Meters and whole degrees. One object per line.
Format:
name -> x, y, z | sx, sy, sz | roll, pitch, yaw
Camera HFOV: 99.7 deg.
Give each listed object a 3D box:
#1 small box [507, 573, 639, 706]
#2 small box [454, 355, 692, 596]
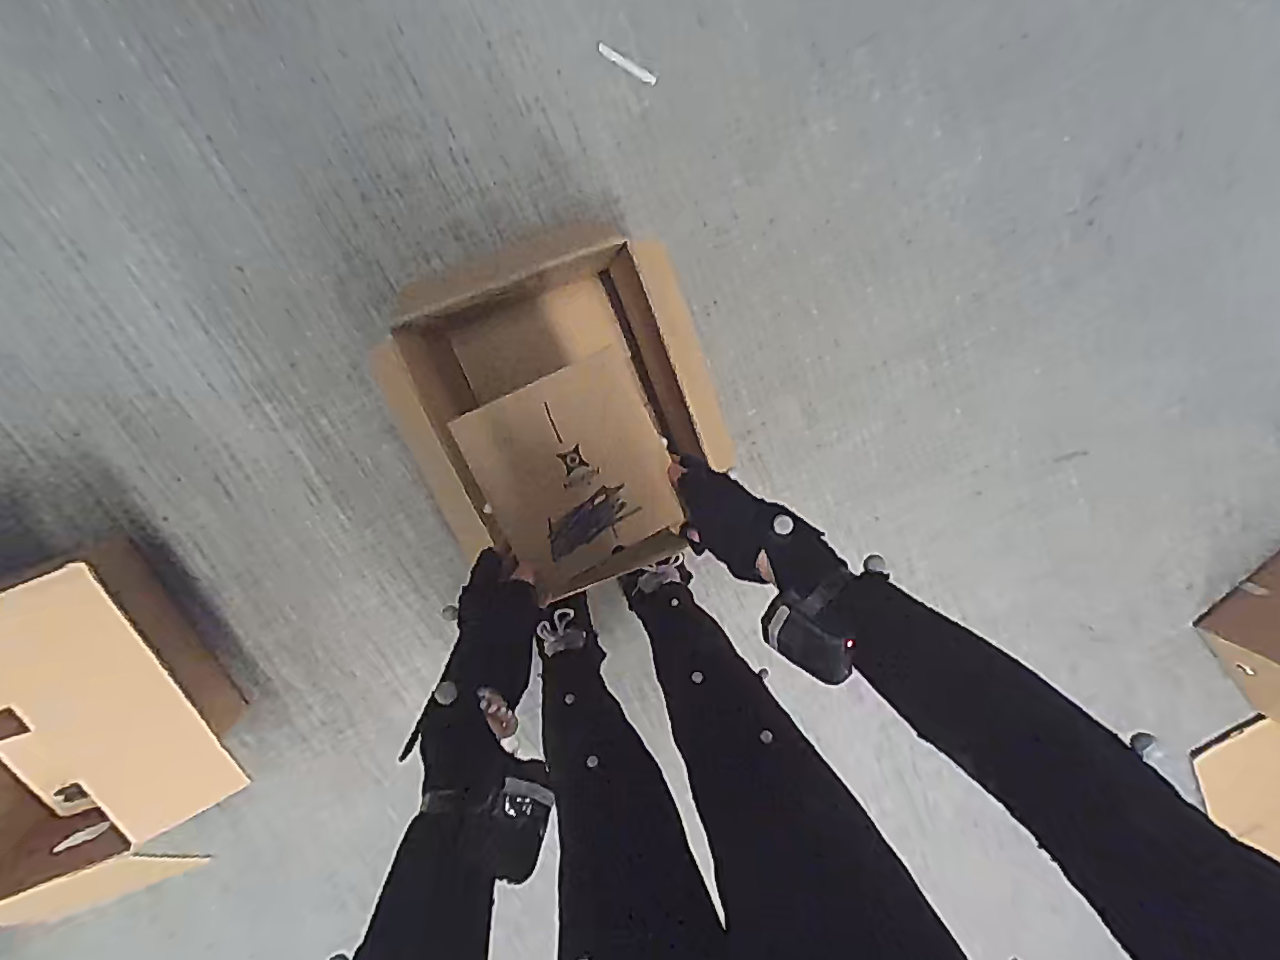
small box -> -0.129, 0.285, 1.027 | 0.179, 0.176, 0.168 | 30, 104, 9
small box -> -0.068, -0.003, 0.575 | 0.168, 0.176, 0.179 | -28, 91, -8
